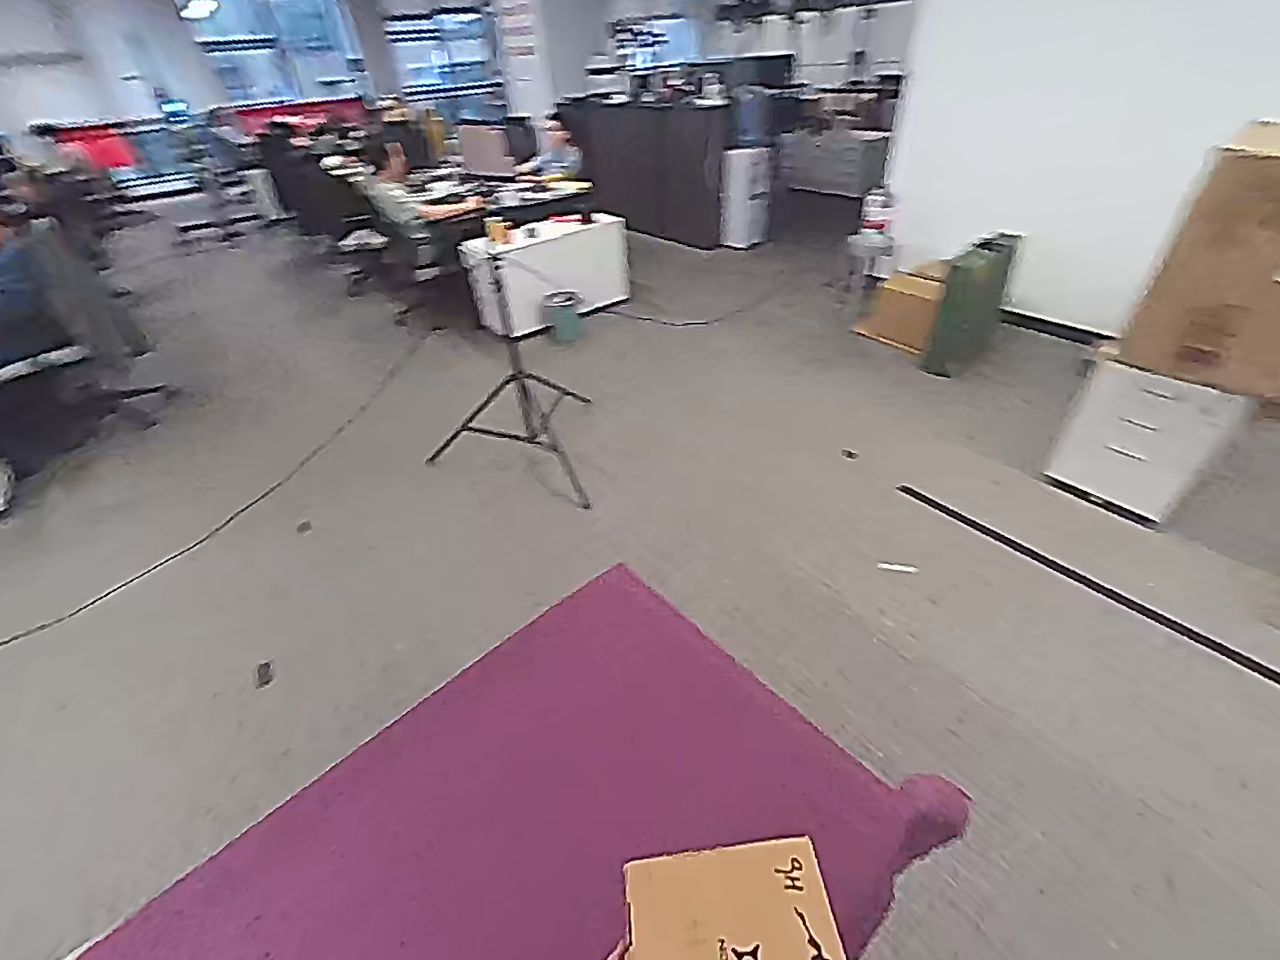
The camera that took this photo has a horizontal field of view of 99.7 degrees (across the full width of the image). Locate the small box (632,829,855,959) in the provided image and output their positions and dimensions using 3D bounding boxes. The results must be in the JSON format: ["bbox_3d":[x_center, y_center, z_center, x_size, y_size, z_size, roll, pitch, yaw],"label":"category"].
[{"bbox_3d":[0.093,0.444,0.484,0.179,0.176,0.168,-7,38,1],"label":"small box"}]
